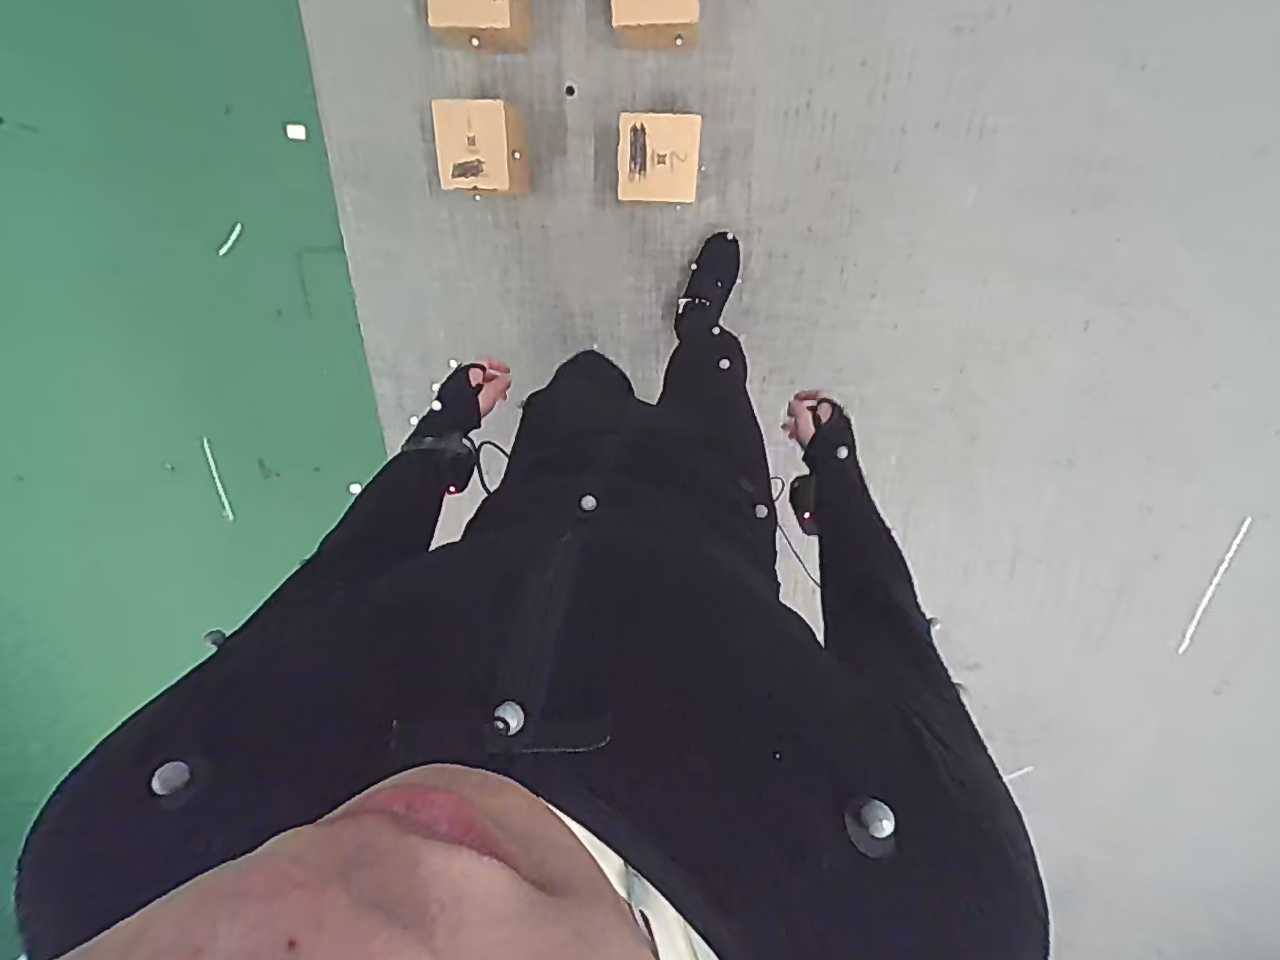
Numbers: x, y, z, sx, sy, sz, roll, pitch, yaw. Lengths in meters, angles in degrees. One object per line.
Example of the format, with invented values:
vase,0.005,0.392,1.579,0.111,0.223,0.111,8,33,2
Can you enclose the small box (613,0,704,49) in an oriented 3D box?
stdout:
small box,0.044,-1.005,1.101,0.179,0.176,0.168,4,114,6

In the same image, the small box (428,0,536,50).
small box,-0.330,-1.033,1.138,0.179,0.176,0.168,6,115,6

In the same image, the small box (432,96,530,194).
small box,-0.360,-0.772,1.261,0.168,0.176,0.179,5,114,5
